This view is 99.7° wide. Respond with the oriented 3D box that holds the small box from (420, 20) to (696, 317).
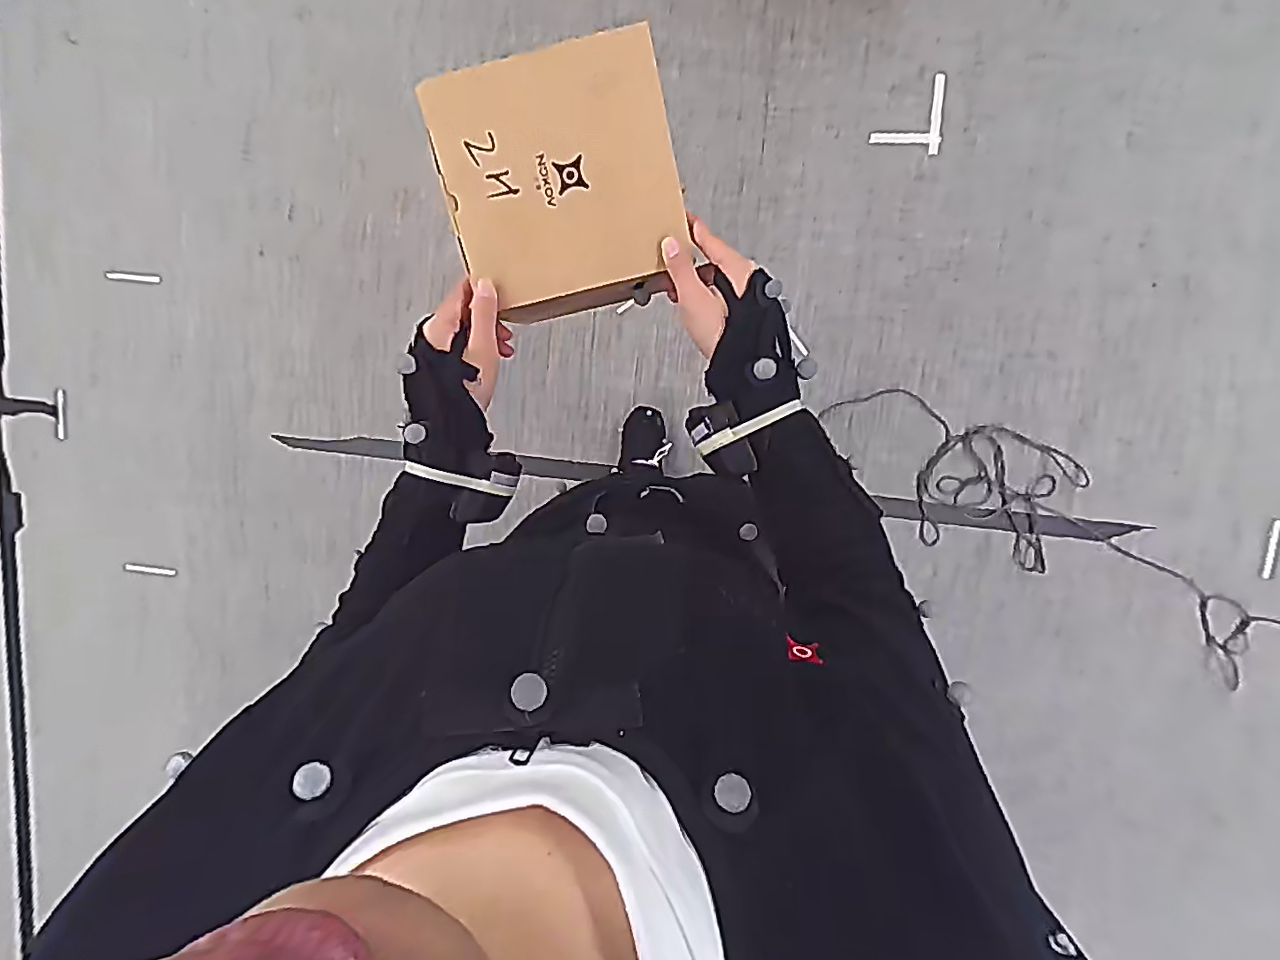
[{"bbox_3d":[-0.058,-0.247,0.477,0.179,0.176,0.168,-12,103,3],"label":"small box"}]
